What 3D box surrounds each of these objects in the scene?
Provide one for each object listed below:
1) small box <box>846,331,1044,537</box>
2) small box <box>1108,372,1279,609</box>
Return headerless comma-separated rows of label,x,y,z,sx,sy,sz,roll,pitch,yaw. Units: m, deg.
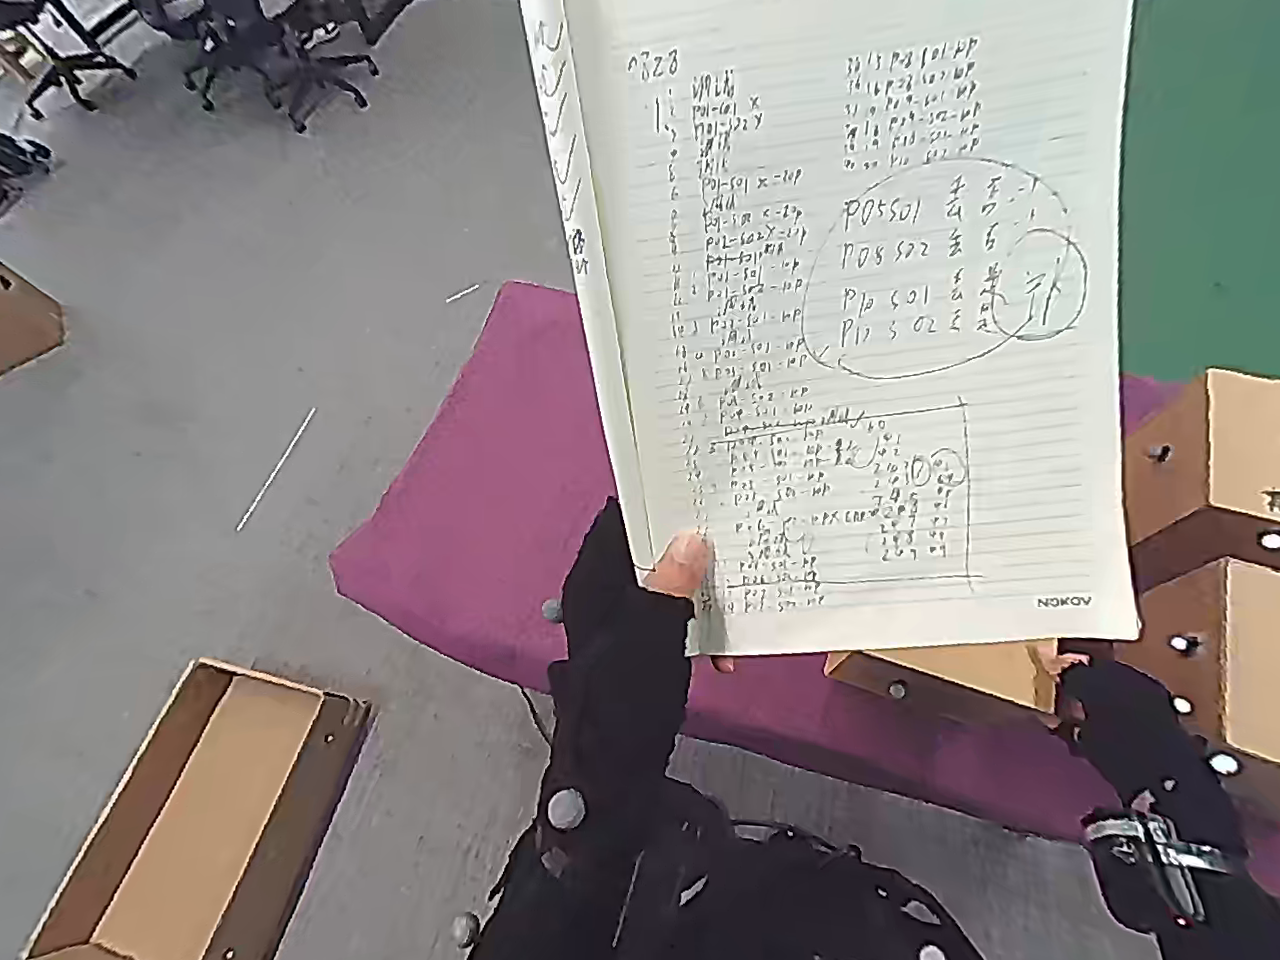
small box,0.367,-0.053,0.674,0.168,0.176,0.179,14,66,15
small box,0.661,0.016,0.595,0.168,0.176,0.179,18,66,17
